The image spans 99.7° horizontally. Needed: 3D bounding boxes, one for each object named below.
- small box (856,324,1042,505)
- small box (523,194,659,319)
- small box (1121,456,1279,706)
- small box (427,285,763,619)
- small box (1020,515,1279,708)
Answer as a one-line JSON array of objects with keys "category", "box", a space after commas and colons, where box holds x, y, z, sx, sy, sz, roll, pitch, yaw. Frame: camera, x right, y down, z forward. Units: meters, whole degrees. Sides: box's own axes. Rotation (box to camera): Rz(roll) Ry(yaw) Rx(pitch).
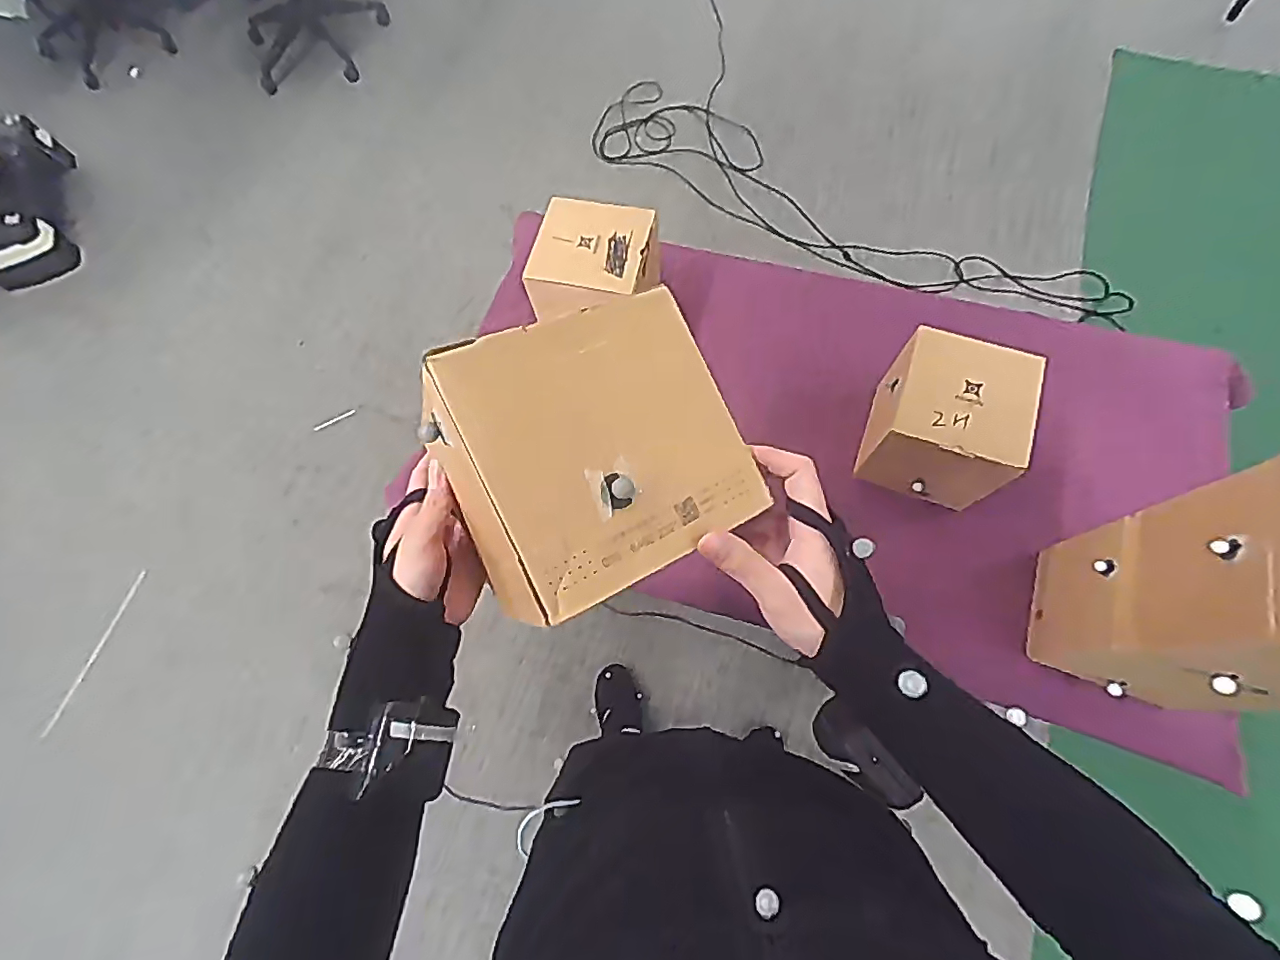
[{"category": "small box", "box": [0.433, -0.087, 0.784, 0.168, 0.176, 0.179, 20, 73, 11]}, {"category": "small box", "box": [-0.070, -0.338, 0.904, 0.179, 0.176, 0.168, 12, 71, 8]}, {"category": "small box", "box": [0.621, 0.107, 0.526, 0.168, 0.176, 0.179, 19, 72, 12]}, {"category": "small box", "box": [-0.044, -0.010, 0.403, 0.168, 0.179, 0.176, -25, 89, -24]}, {"category": "small box", "box": [0.628, 0.167, 0.678, 0.179, 0.176, 0.168, 19, 71, 10]}]
